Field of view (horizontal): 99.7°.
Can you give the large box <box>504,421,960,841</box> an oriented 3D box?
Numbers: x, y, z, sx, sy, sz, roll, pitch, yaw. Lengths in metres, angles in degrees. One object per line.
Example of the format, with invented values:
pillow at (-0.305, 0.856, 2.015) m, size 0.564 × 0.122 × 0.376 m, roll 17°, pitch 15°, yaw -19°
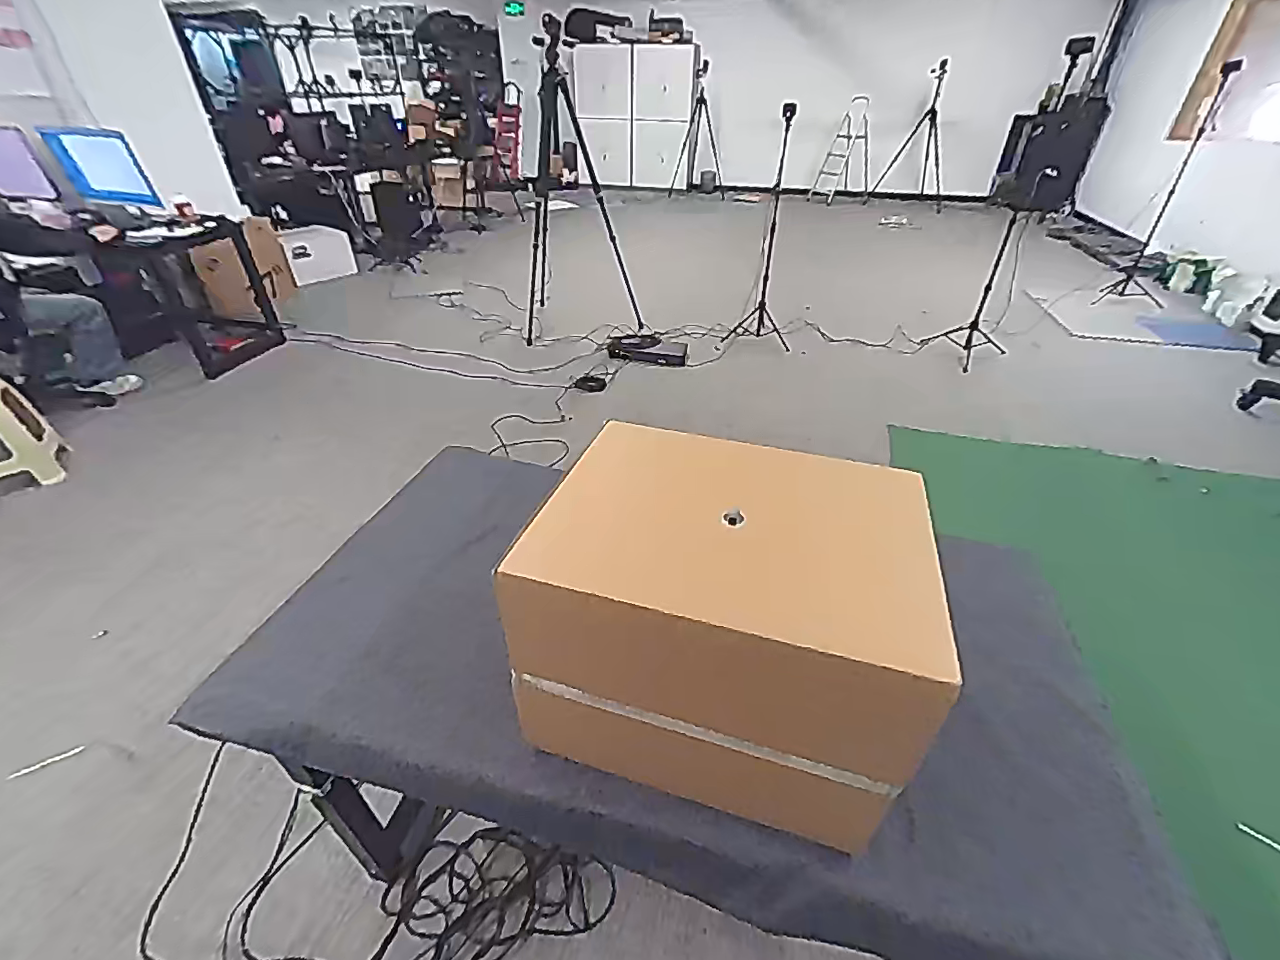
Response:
large box at (0.100, 0.163, 0.664) m, size 0.408 × 0.320 × 0.320 m, roll 11°, pitch 36°, yaw 13°
